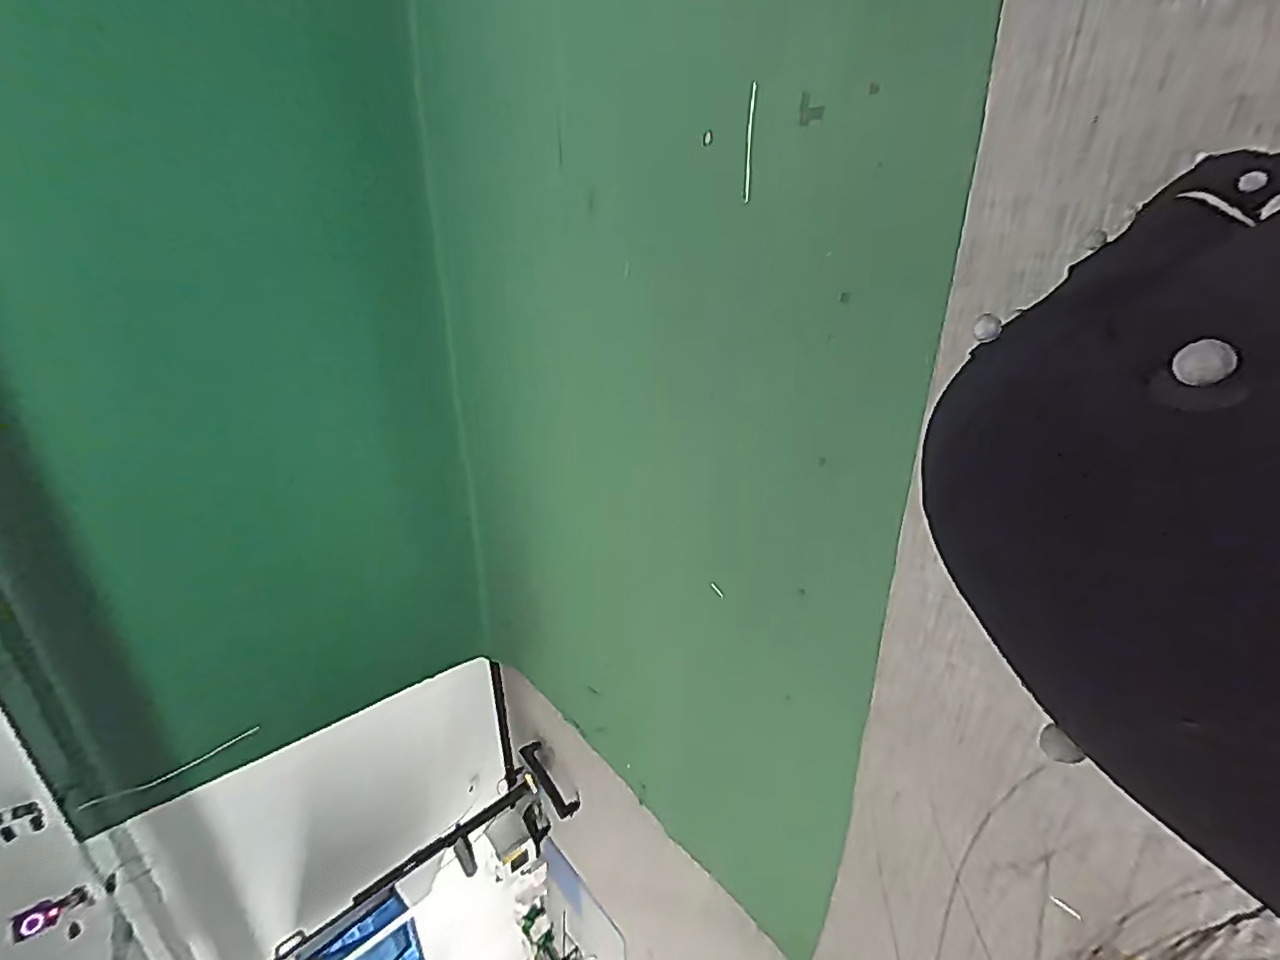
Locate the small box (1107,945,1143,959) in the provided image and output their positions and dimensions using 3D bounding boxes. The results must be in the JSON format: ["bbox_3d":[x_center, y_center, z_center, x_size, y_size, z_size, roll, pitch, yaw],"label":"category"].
[{"bbox_3d":[1.245,1.326,1.343,0.168,0.176,0.179,23,122,45],"label":"small box"}]
